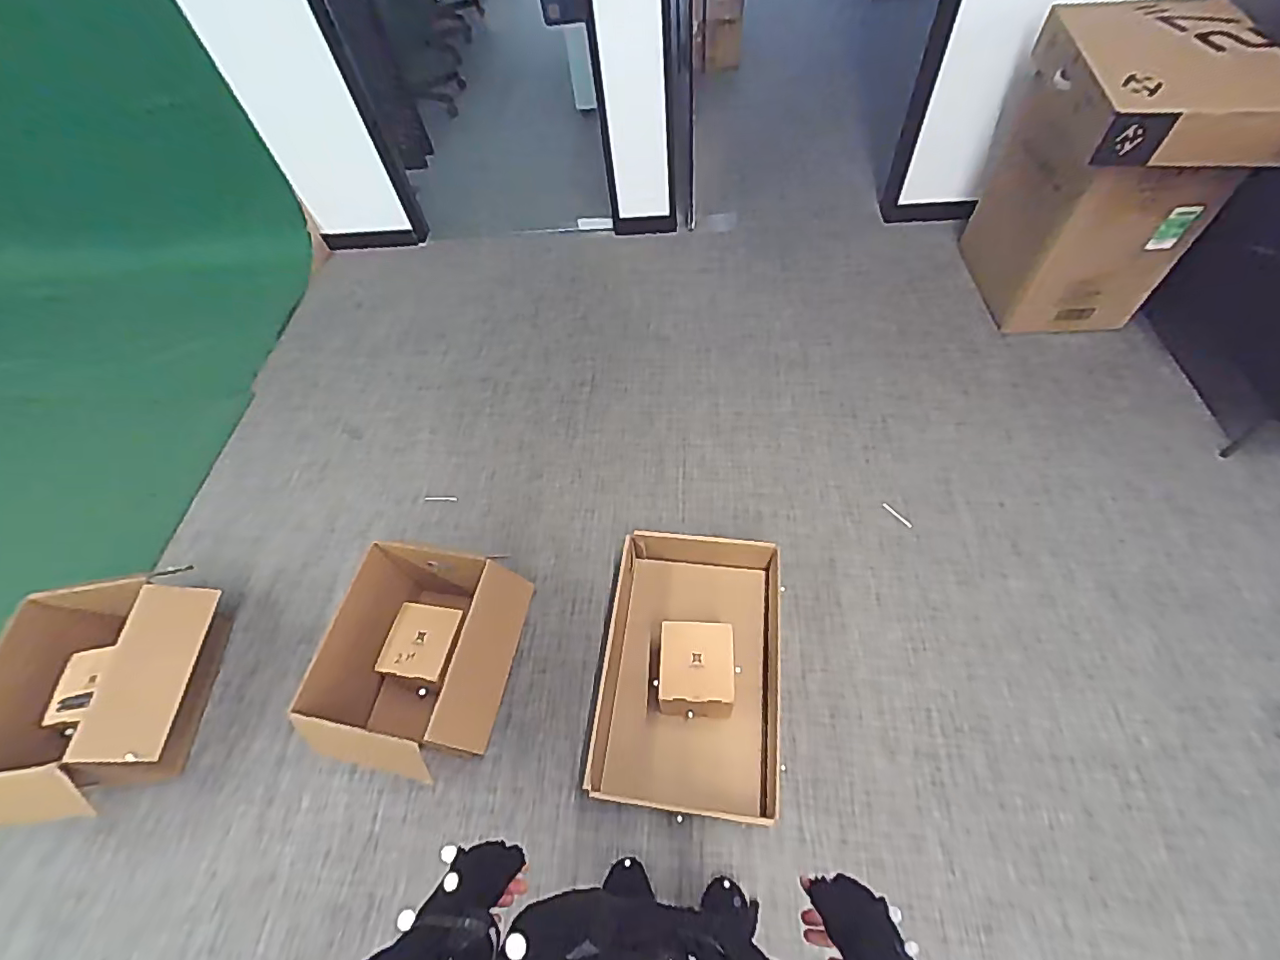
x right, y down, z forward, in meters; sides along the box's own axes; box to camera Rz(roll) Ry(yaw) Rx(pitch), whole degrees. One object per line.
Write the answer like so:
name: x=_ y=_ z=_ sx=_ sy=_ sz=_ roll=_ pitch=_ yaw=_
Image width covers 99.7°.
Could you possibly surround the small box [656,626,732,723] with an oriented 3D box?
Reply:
small box: x=0.125 y=0.458 z=1.269 sx=0.168 sy=0.176 sz=0.179 roll=1 pitch=56 yaw=5
